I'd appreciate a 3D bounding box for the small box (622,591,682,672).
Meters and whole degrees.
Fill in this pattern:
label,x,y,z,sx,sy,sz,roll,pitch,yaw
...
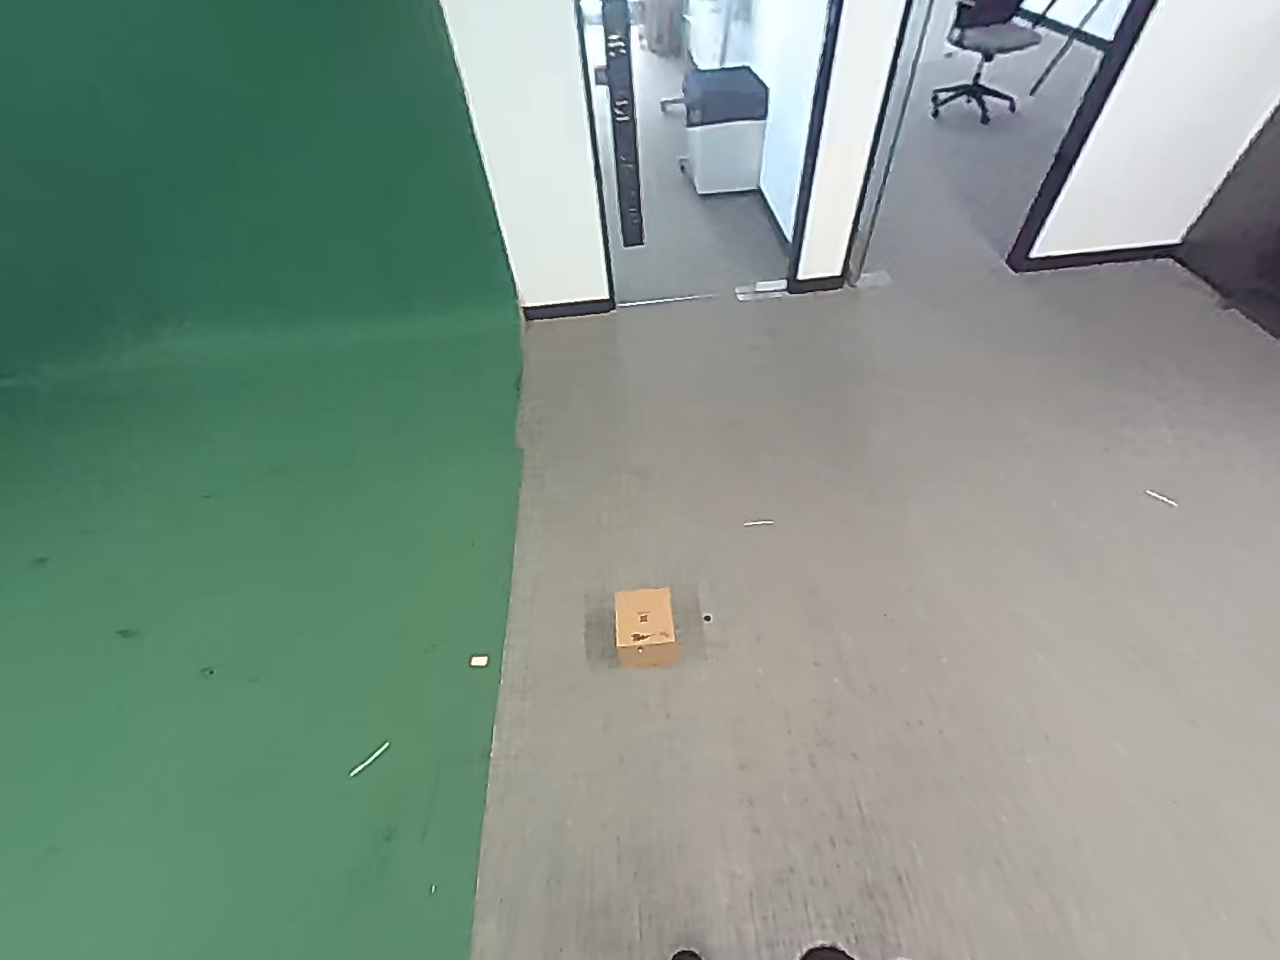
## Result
label,x,y,z,sx,sy,sz,roll,pitch,yaw
small box,0.035,0.455,1.622,0.168,0.176,0.179,-6,49,2
